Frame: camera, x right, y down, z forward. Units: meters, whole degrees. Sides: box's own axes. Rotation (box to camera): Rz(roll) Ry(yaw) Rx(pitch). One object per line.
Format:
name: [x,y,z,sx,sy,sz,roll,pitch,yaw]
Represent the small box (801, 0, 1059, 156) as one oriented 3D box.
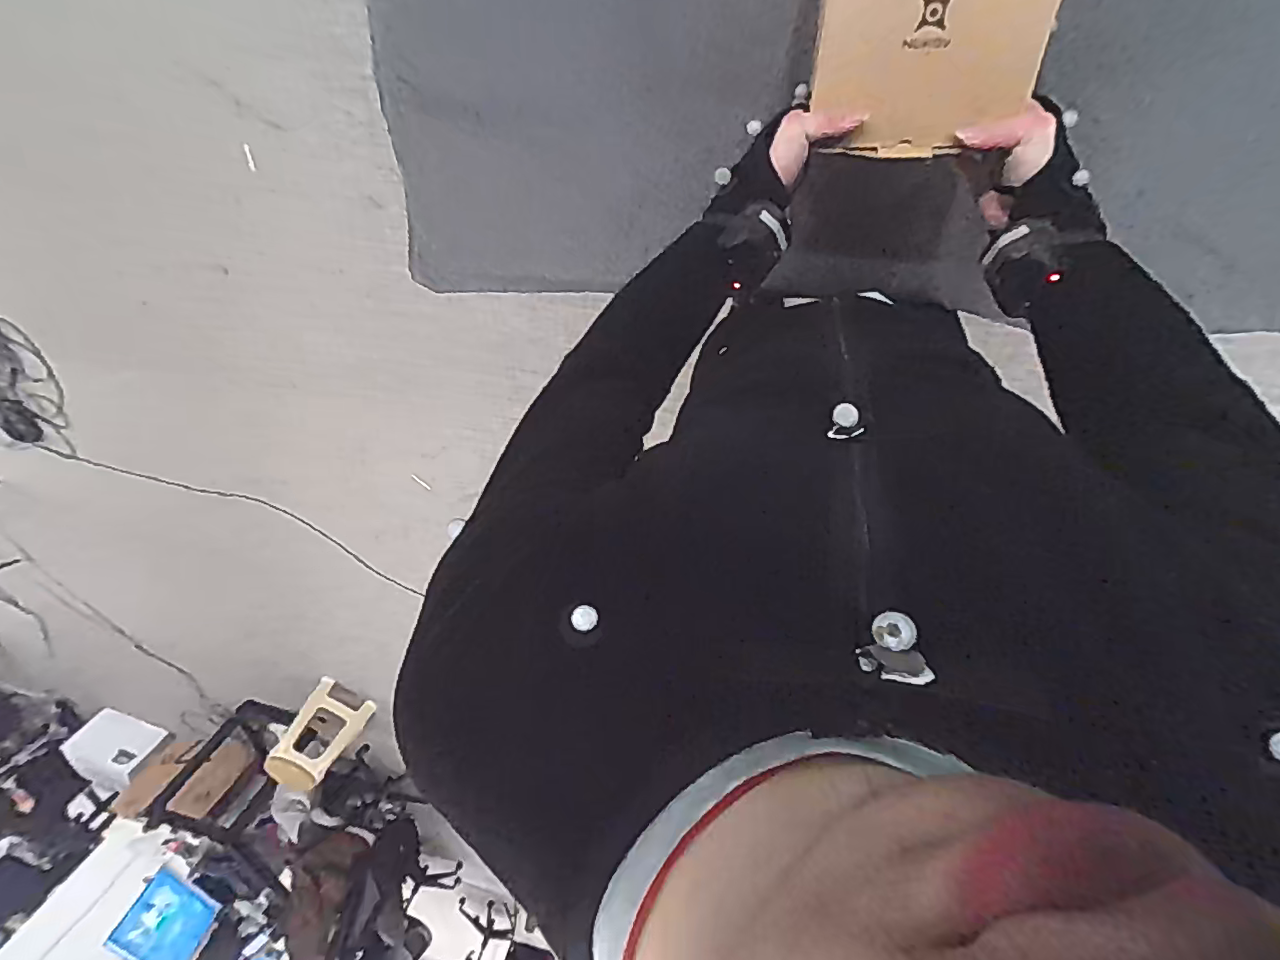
small box: [0.241,-0.396,0.478,0.168,0.176,0.179,6,124,8]
